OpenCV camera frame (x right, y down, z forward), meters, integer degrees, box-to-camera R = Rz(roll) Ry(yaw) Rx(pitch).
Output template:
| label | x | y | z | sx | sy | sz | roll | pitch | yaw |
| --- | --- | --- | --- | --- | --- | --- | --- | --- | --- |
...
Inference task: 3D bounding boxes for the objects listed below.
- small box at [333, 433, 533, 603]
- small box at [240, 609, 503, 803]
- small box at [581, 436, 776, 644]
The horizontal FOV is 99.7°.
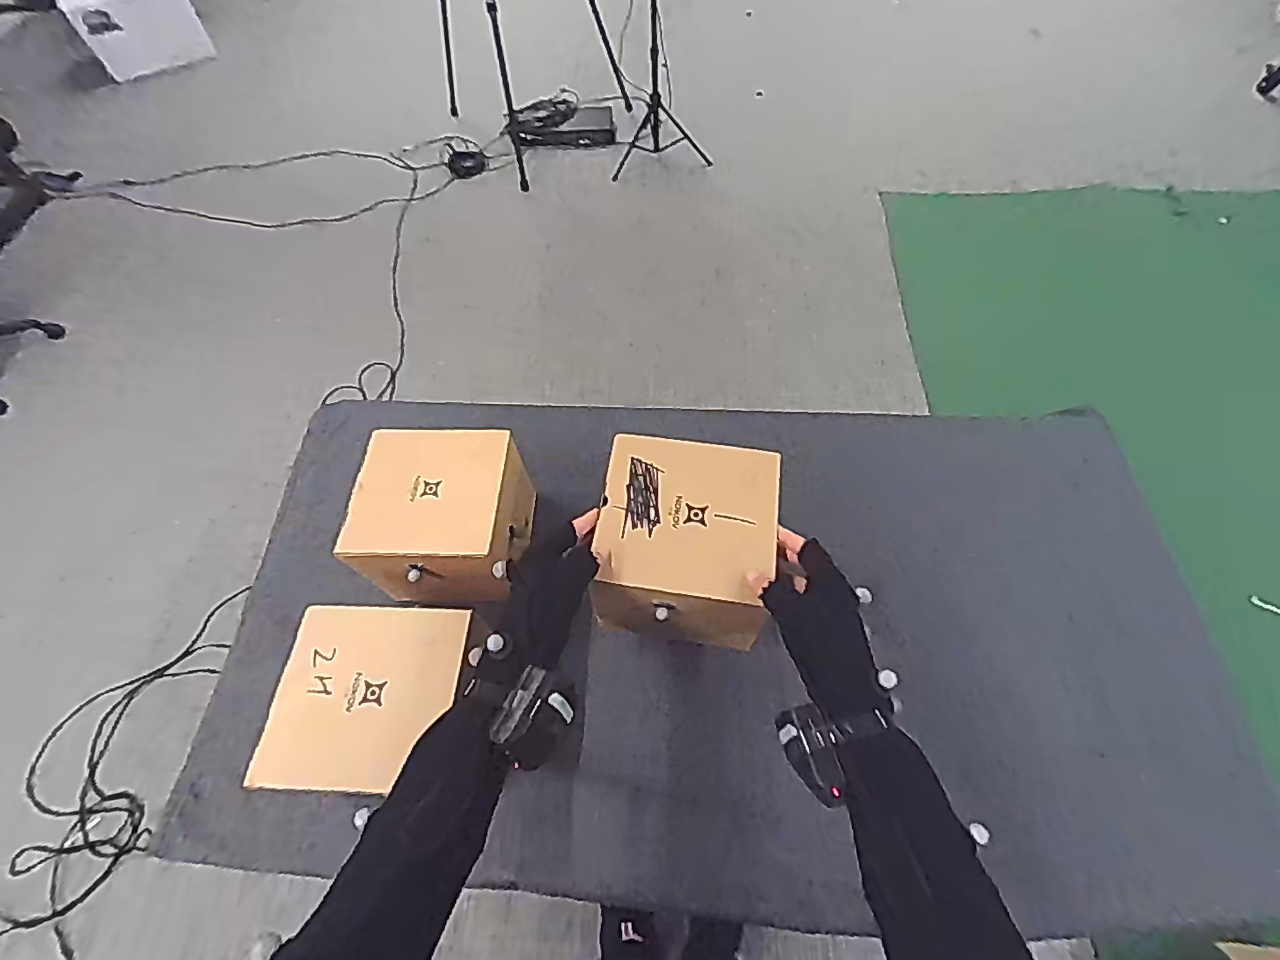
| label | x | y | z | sx | sy | sz | roll | pitch | yaw |
| --- | --- | --- | --- | --- | --- | --- | --- | --- | --- |
| small box | -0.244 | 0.054 | 0.693 | 0.179 | 0.176 | 0.168 | -1 | 61 | 3 |
| small box | -0.257 | 0.245 | 0.576 | 0.179 | 0.176 | 0.168 | 1 | 58 | 3 |
| small box | 0.046 | 0.072 | 0.596 | 0.179 | 0.176 | 0.168 | 7 | 60 | 6 |
